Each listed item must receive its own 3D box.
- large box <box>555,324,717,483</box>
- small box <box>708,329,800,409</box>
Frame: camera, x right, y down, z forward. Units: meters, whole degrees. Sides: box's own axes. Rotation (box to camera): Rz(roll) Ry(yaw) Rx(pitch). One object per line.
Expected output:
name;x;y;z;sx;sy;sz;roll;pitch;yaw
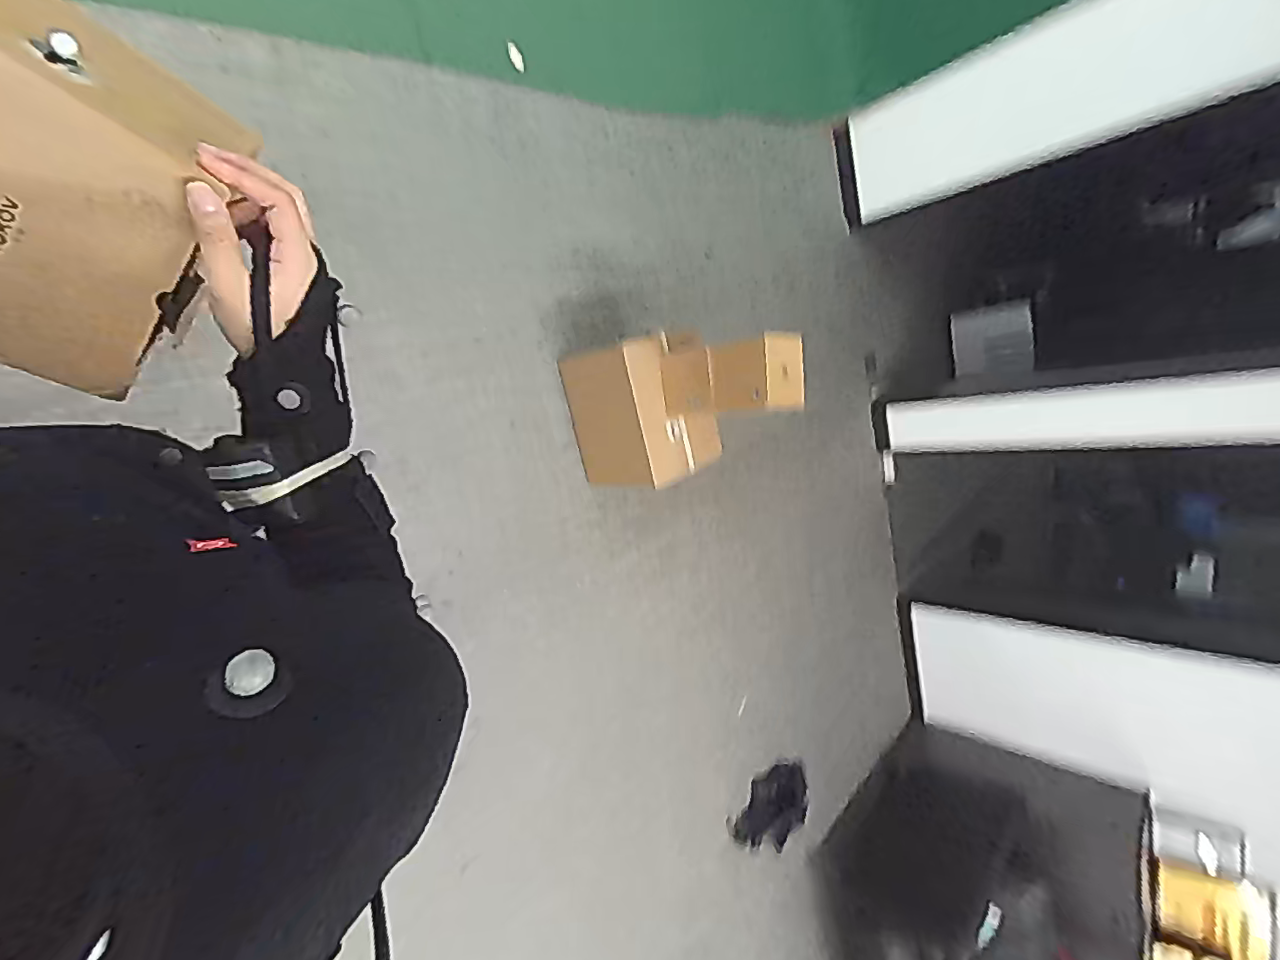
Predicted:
large box;-0.010;-0.231;1.654;0.320;0.320;0.408;-25;109;-38
small box;0.287;-0.277;1.372;0.168;0.176;0.179;-10;99;-42
